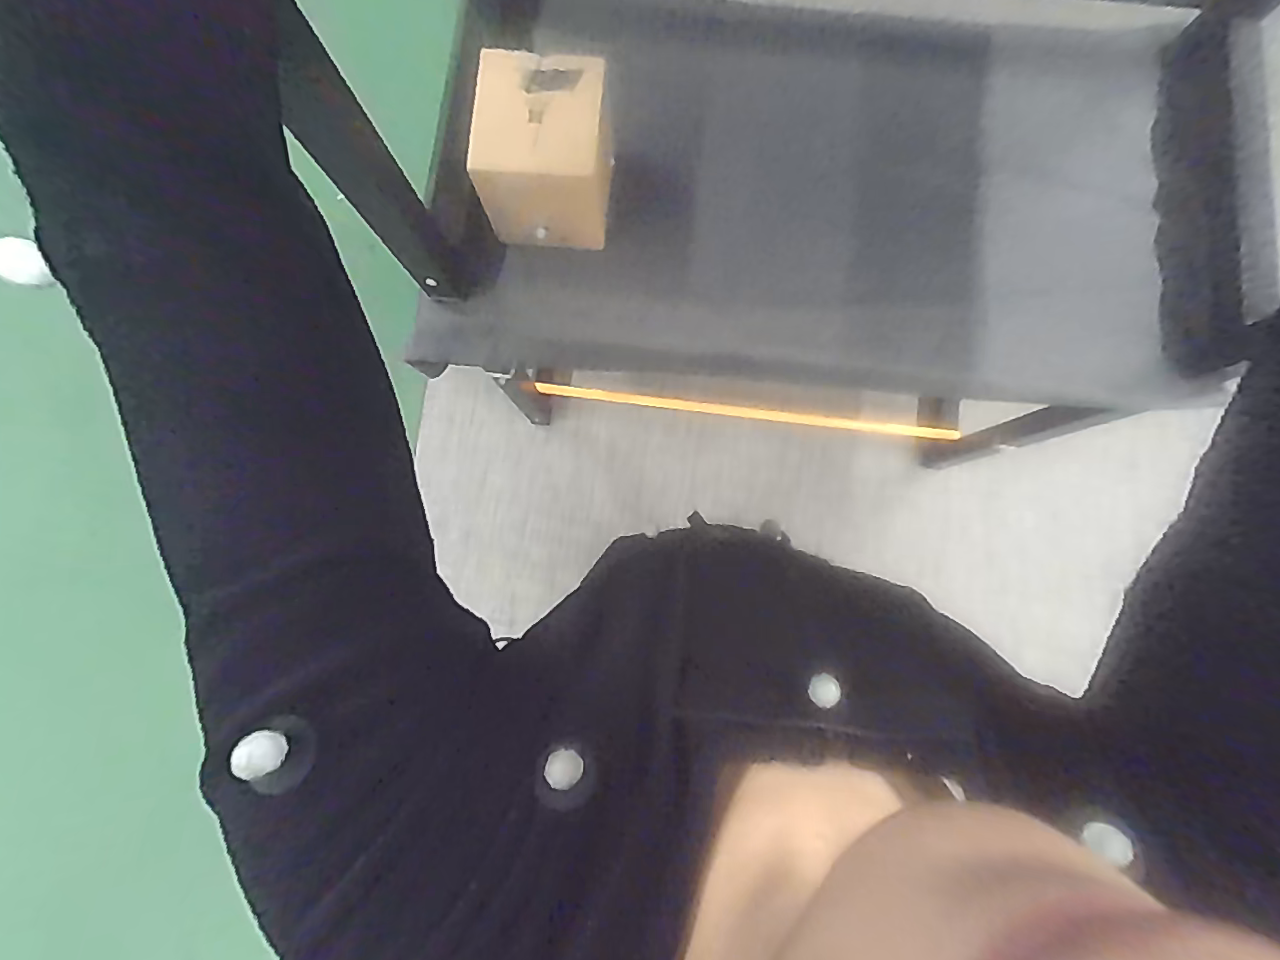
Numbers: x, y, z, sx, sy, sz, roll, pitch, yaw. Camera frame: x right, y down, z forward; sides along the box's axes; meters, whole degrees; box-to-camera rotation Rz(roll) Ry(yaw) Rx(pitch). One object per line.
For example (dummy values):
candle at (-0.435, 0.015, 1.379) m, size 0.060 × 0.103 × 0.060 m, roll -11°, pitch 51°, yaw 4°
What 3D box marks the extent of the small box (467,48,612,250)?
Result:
small box at (-0.130, -0.459, 0.770) m, size 0.168 × 0.176 × 0.179 m, roll 4°, pitch 82°, yaw 1°
